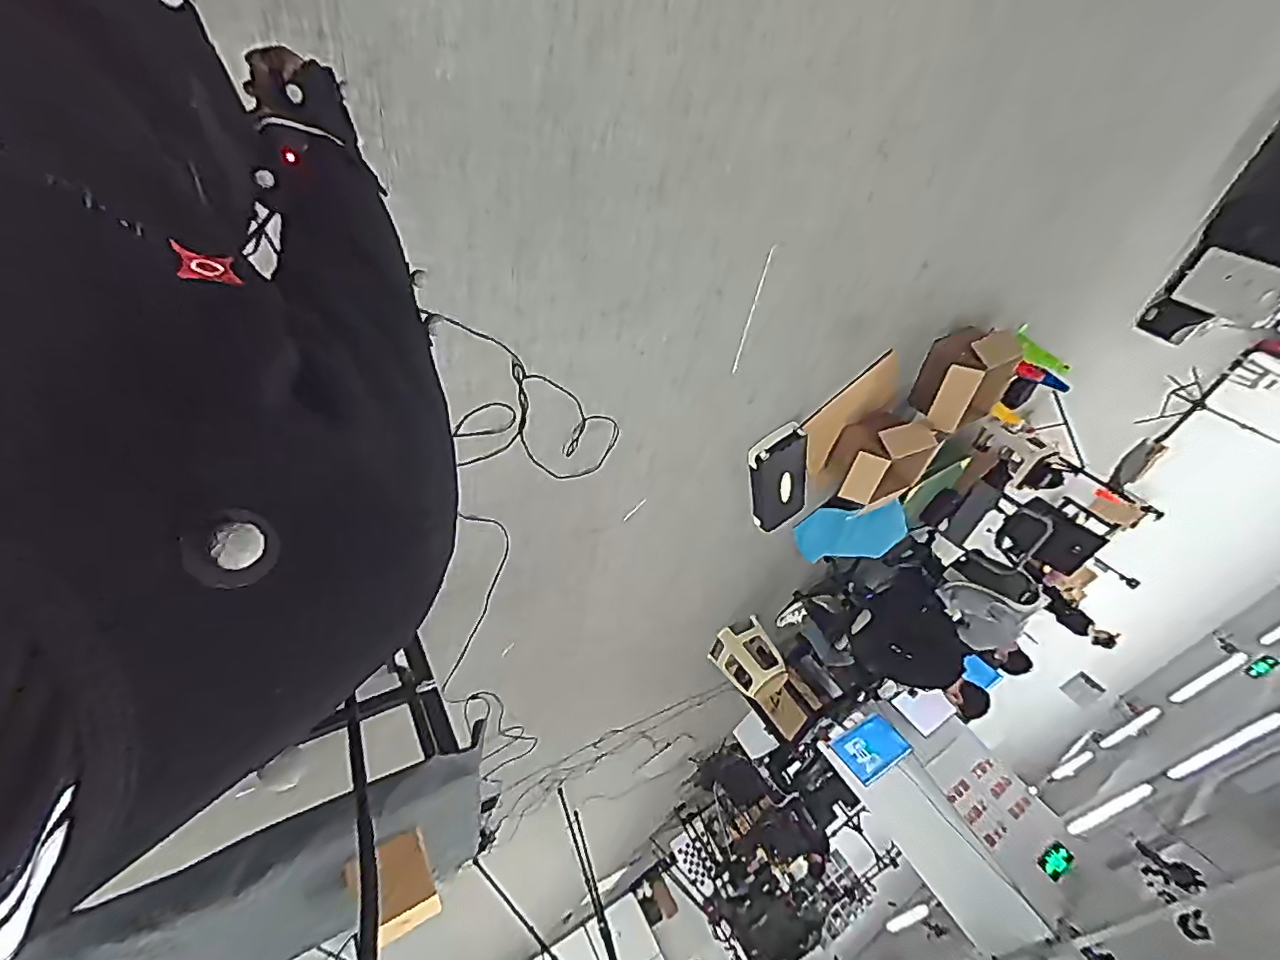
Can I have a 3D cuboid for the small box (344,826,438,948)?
[{"bbox_3d":[-0.623,1.013,1.358,0.179,0.176,0.168,-15,137,-29],"label":"small box"}]
